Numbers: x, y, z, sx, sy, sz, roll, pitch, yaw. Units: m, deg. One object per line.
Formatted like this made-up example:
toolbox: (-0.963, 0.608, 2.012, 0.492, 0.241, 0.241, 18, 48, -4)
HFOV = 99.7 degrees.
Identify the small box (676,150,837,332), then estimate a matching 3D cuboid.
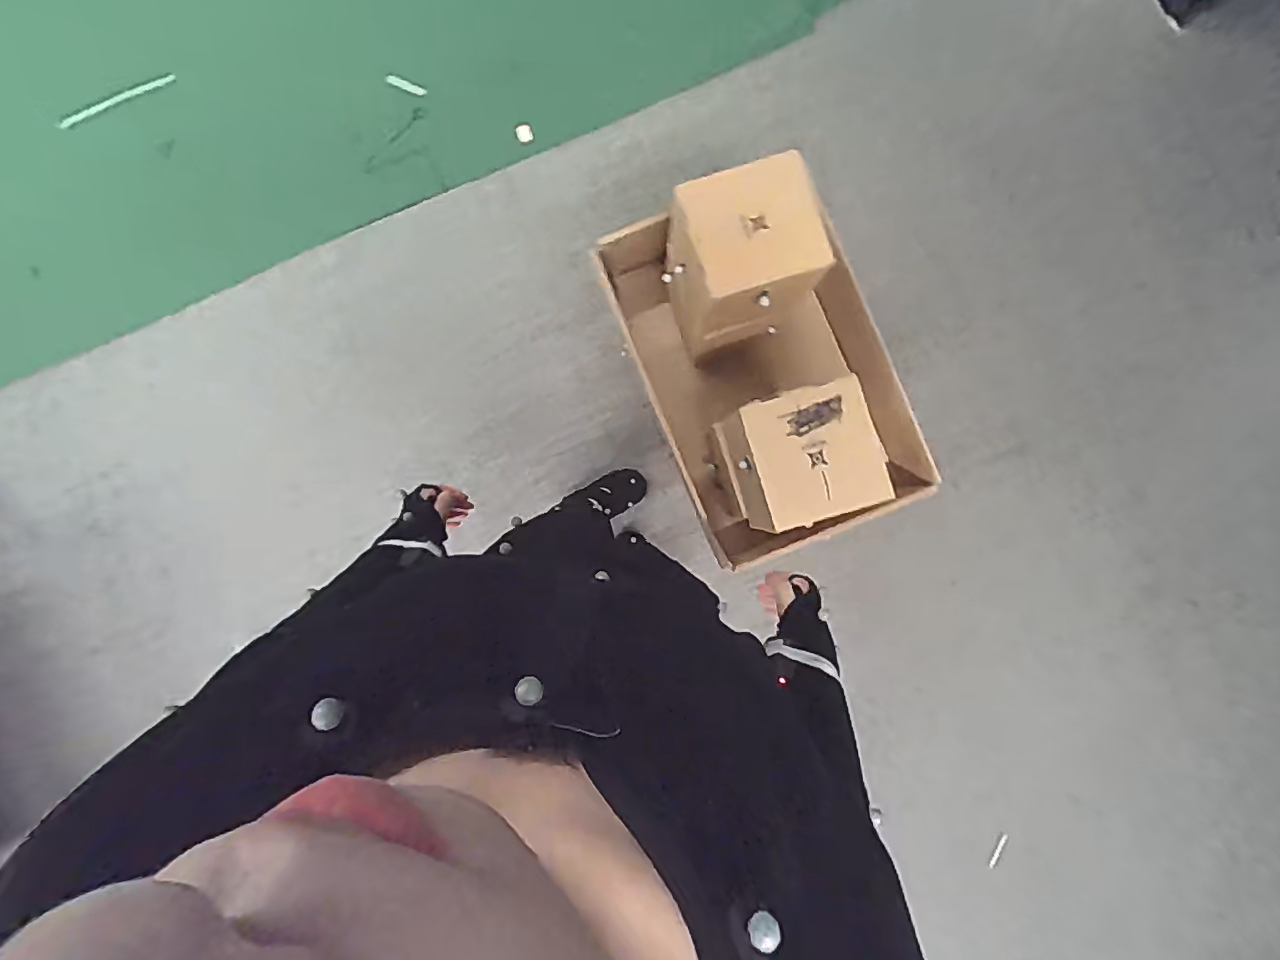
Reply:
small box: (0.160, -0.341, 0.802, 0.179, 0.176, 0.168, -16, 88, 0)

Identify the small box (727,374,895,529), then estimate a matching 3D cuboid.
small box: (0.234, -0.034, 0.789, 0.168, 0.176, 0.179, -15, 88, 0)
